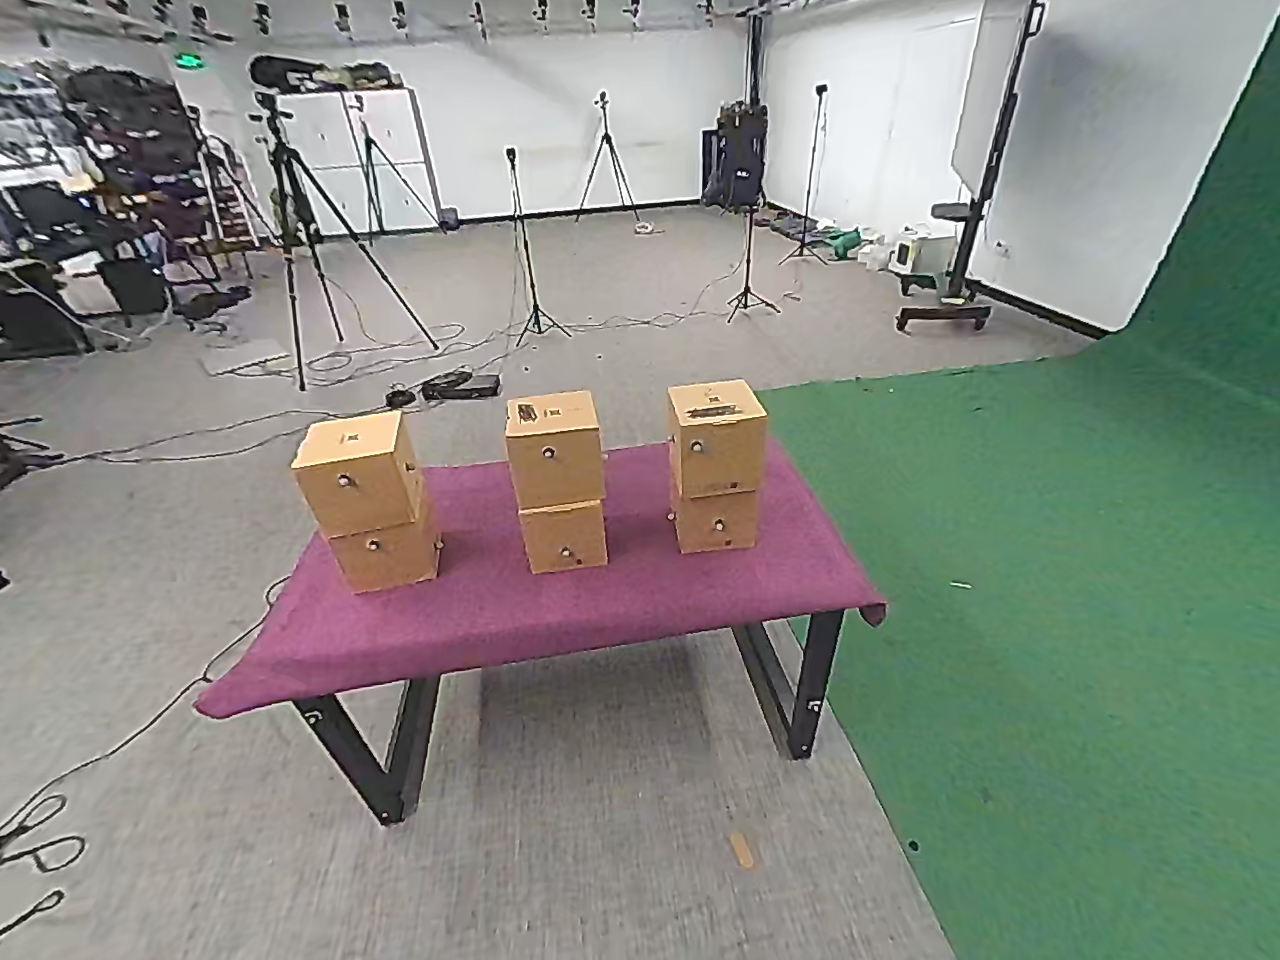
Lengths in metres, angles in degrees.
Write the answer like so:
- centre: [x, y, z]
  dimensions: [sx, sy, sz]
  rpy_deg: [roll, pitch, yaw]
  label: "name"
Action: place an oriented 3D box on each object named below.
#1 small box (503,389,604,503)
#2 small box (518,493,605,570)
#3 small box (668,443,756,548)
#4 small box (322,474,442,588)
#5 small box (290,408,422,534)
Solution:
- centre: [-0.172, -0.067, 1.099]
  dimensions: [0.179, 0.176, 0.168]
  rpy_deg: [-7, 35, -7]
  label: "small box"
- centre: [-0.167, 0.073, 1.185]
  dimensions: [0.168, 0.176, 0.179]
  rpy_deg: [-6, 35, -3]
  label: "small box"
- centre: [0.157, 0.038, 1.208]
  dimensions: [0.168, 0.176, 0.179]
  rpy_deg: [-5, 35, -2]
  label: "small box"
- centre: [-0.542, 0.111, 1.162]
  dimensions: [0.179, 0.176, 0.168]
  rpy_deg: [-9, 36, -9]
  label: "small box"
- centre: [-0.544, -0.019, 1.066]
  dimensions: [0.179, 0.176, 0.168]
  rpy_deg: [-11, 37, -10]
  label: "small box"
